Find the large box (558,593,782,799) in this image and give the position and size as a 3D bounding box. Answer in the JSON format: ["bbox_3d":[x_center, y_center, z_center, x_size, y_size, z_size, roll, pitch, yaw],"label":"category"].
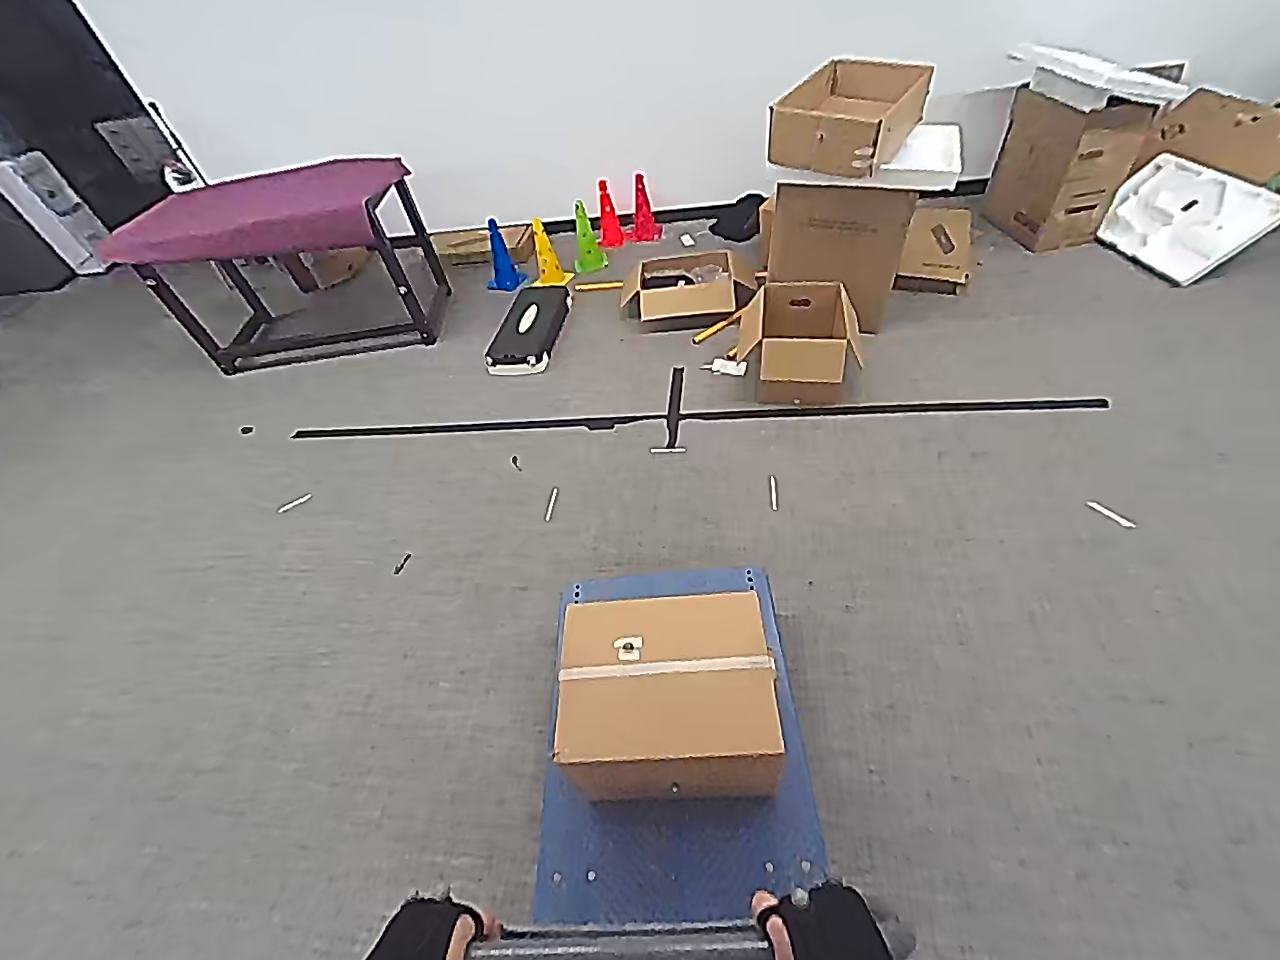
[{"bbox_3d":[0.067,0.469,1.156,0.408,0.320,0.320,-6,47,6],"label":"large box"}]
